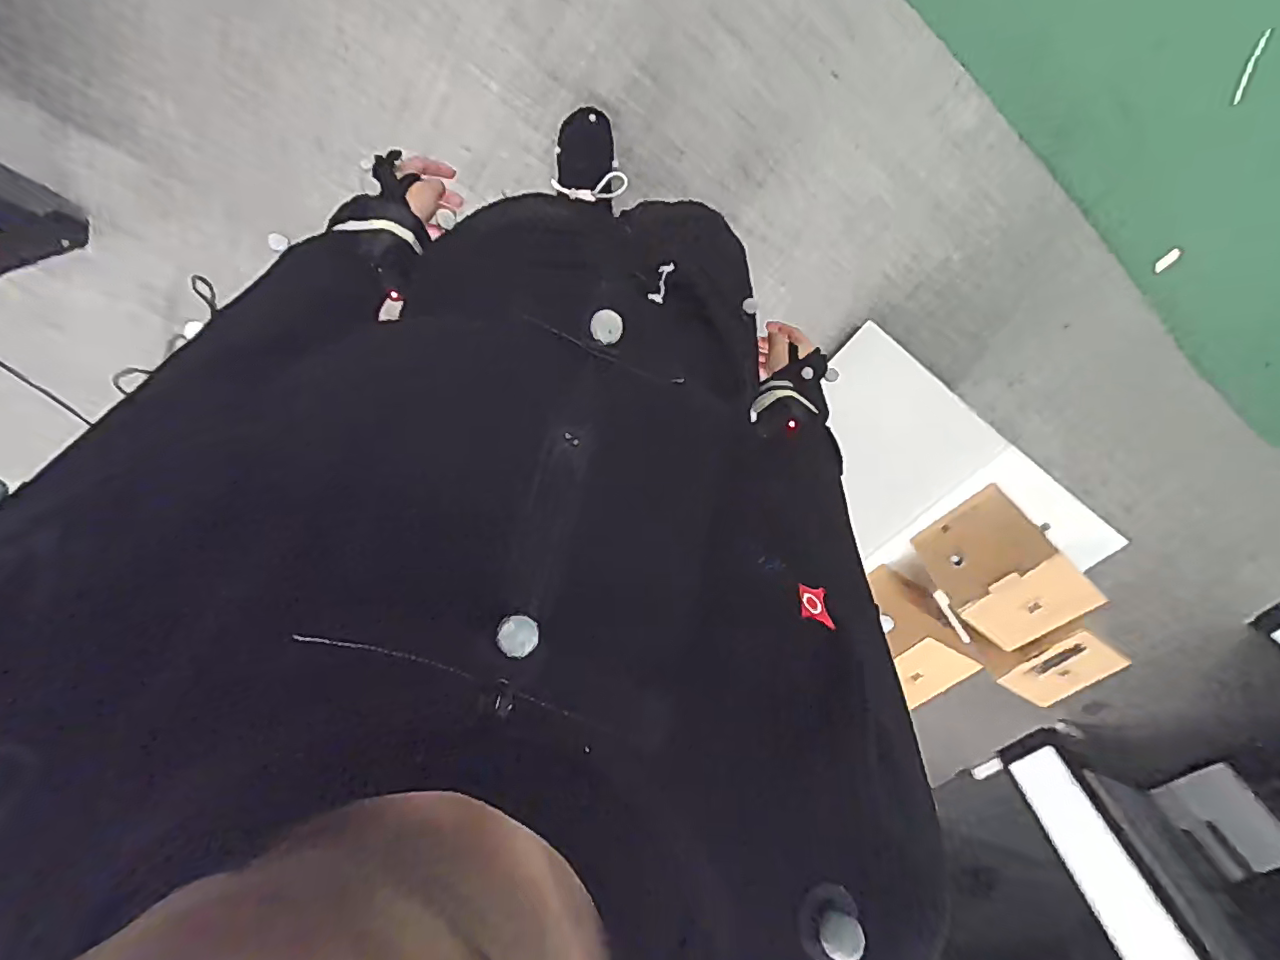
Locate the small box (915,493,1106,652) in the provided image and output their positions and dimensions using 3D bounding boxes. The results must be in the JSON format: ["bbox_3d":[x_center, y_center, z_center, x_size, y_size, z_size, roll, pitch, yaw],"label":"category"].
[{"bbox_3d":[0.595,0.146,0.889,0.179,0.176,0.168,32,120,-26],"label":"small box"}]
